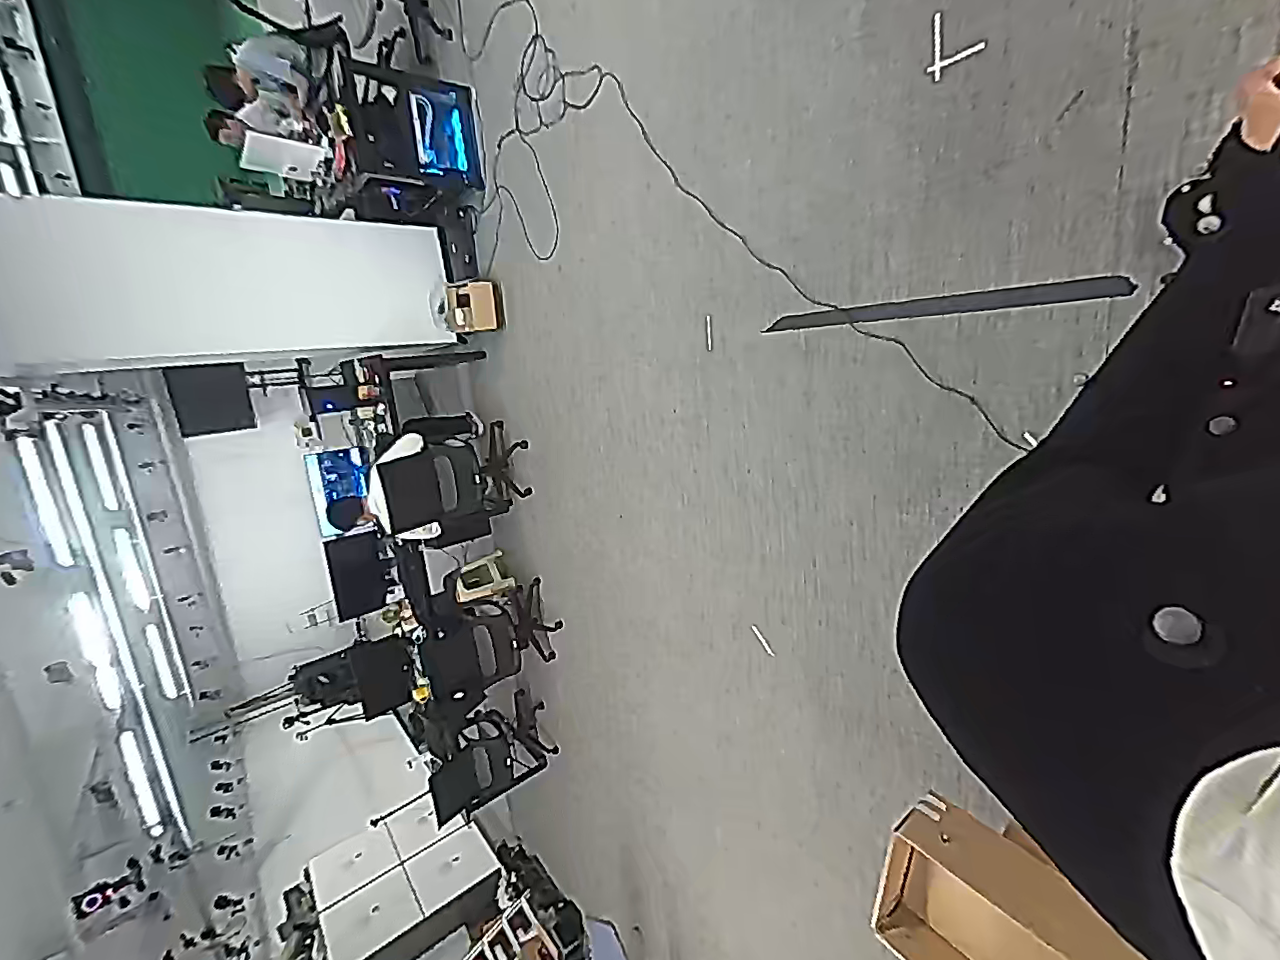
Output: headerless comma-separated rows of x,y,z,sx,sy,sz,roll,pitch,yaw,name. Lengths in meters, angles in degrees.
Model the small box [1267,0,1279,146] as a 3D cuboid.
0.626,-0.395,0.422,0.179,0.176,0.168,0,100,51,small box
